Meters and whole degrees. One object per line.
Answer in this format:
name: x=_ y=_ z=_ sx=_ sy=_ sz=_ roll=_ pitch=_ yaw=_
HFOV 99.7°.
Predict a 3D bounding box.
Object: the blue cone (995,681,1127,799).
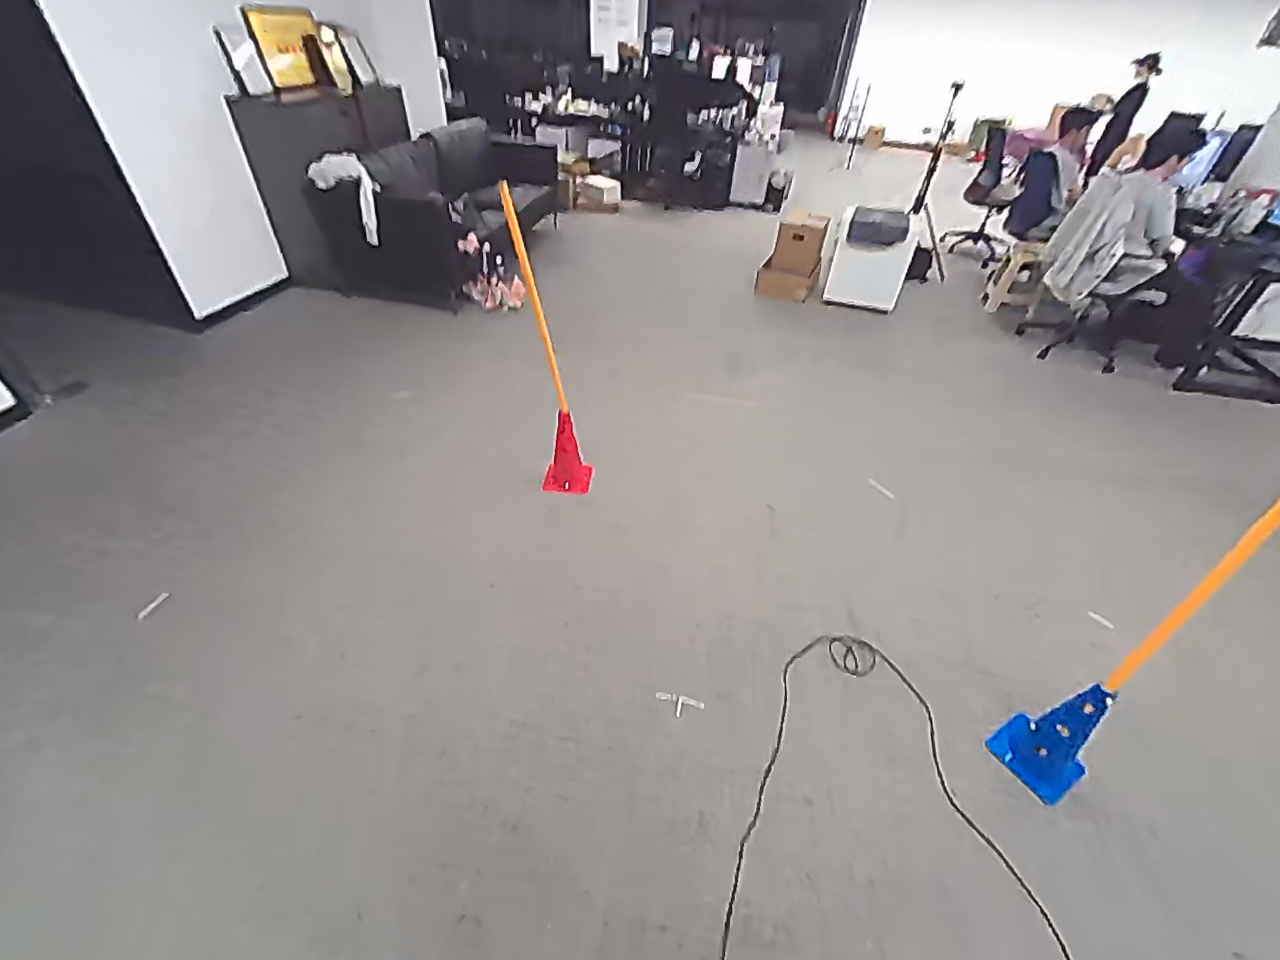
blue cone: x=1.139 y=0.644 z=1.428 sx=0.193 sy=0.380 sz=0.192 roll=-18 pitch=44 yaw=-28
